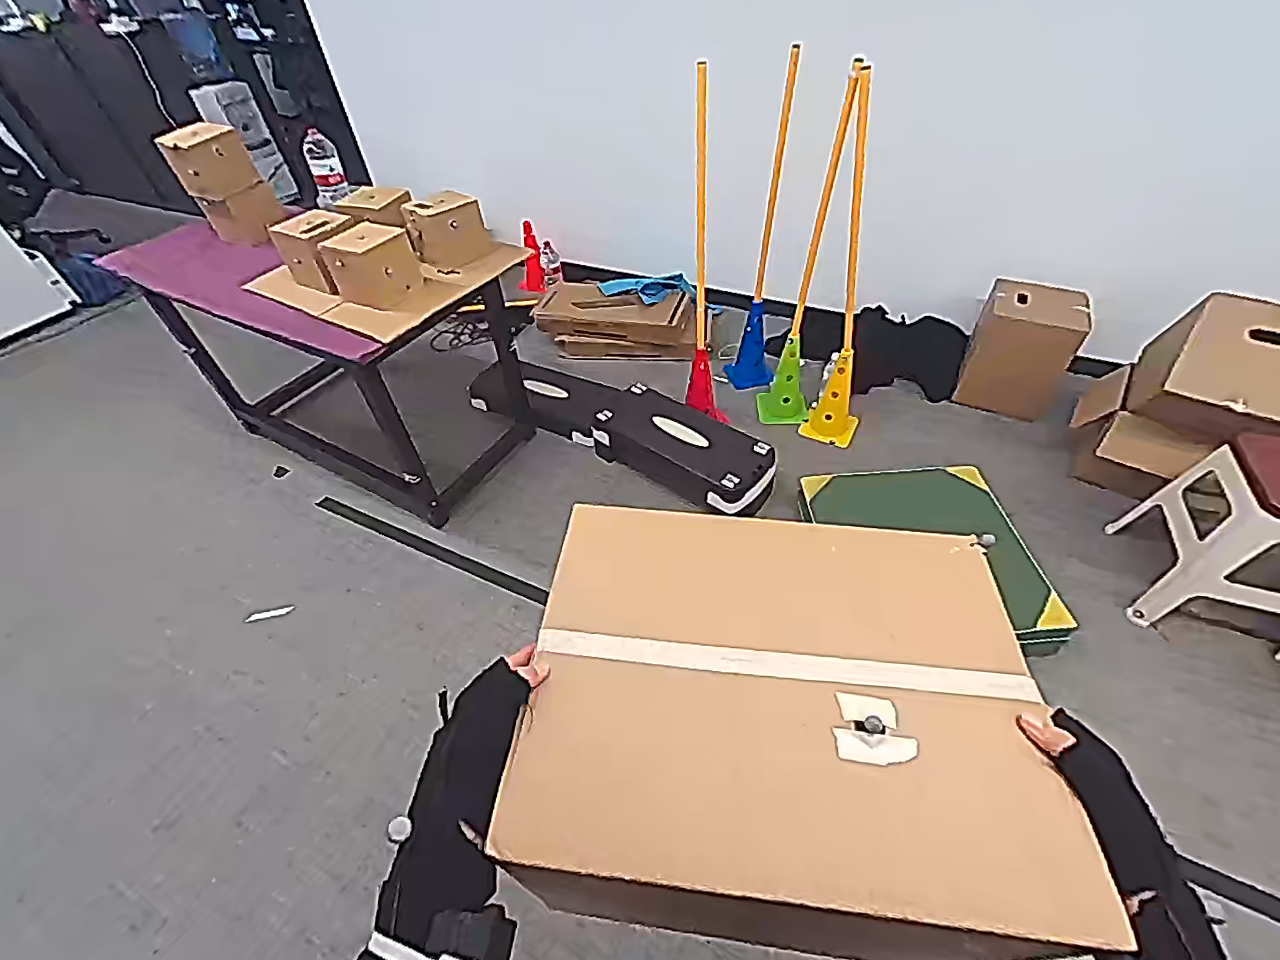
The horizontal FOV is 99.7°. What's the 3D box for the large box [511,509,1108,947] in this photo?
[{"bbox_3d":[0.120,0.257,0.568,0.408,0.320,0.320,5,48,5],"label":"large box"}]
